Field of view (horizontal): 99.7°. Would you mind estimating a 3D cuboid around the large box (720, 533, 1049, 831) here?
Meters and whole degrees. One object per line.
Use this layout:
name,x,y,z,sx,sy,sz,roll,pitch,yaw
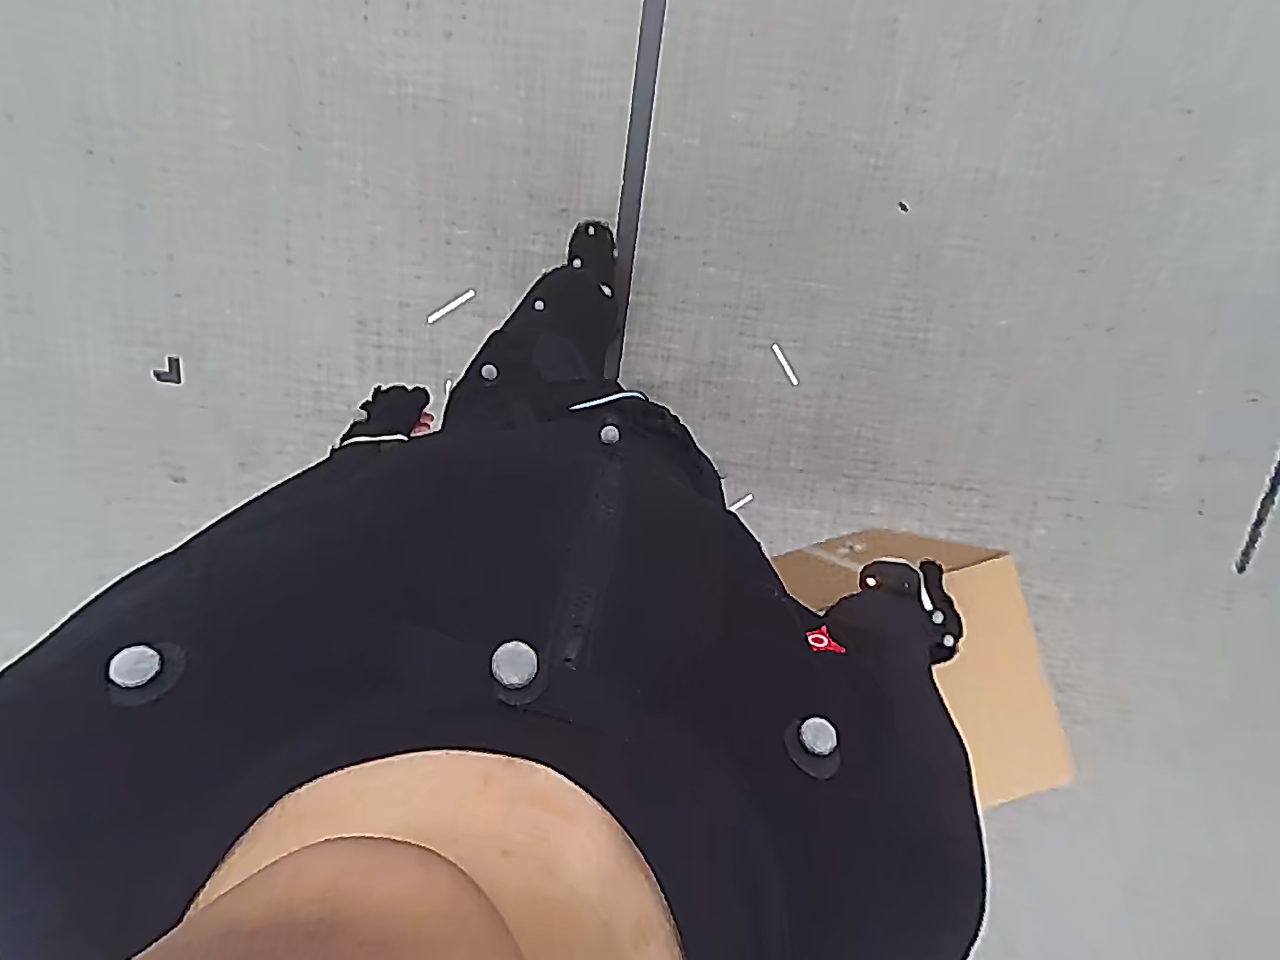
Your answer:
large box,0.359,0.289,0.912,0.320,0.408,0.320,-14,89,-3
